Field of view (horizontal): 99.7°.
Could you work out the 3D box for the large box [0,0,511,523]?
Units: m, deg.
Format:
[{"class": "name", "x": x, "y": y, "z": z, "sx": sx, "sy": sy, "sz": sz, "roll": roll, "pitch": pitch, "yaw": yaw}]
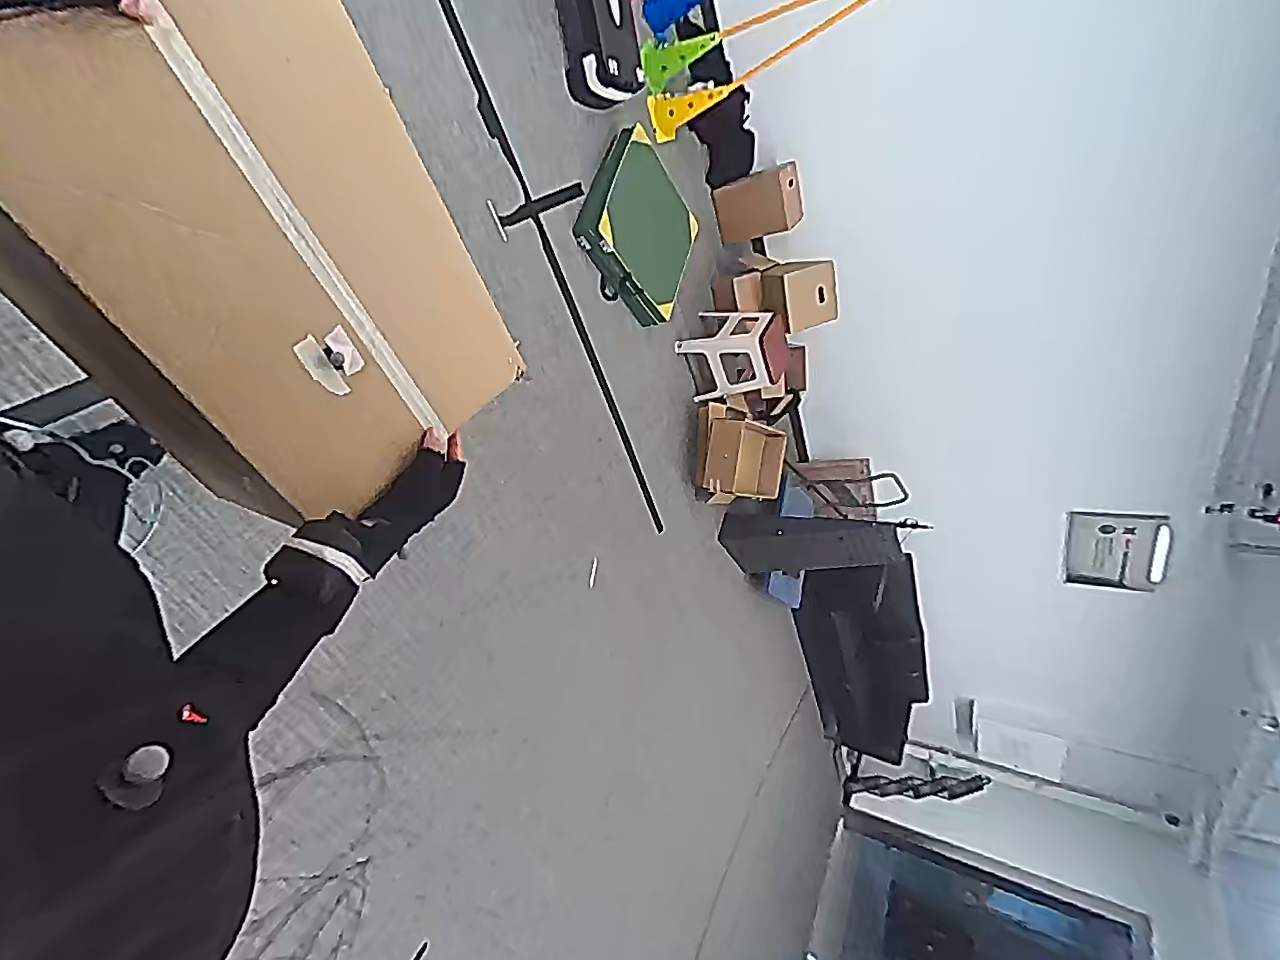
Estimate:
[{"class": "large box", "x": -0.424, "y": -0.218, "z": 0.587, "sx": 0.320, "sy": 0.320, "sz": 0.408, "roll": -53, "pitch": 137, "yaw": -34}]
